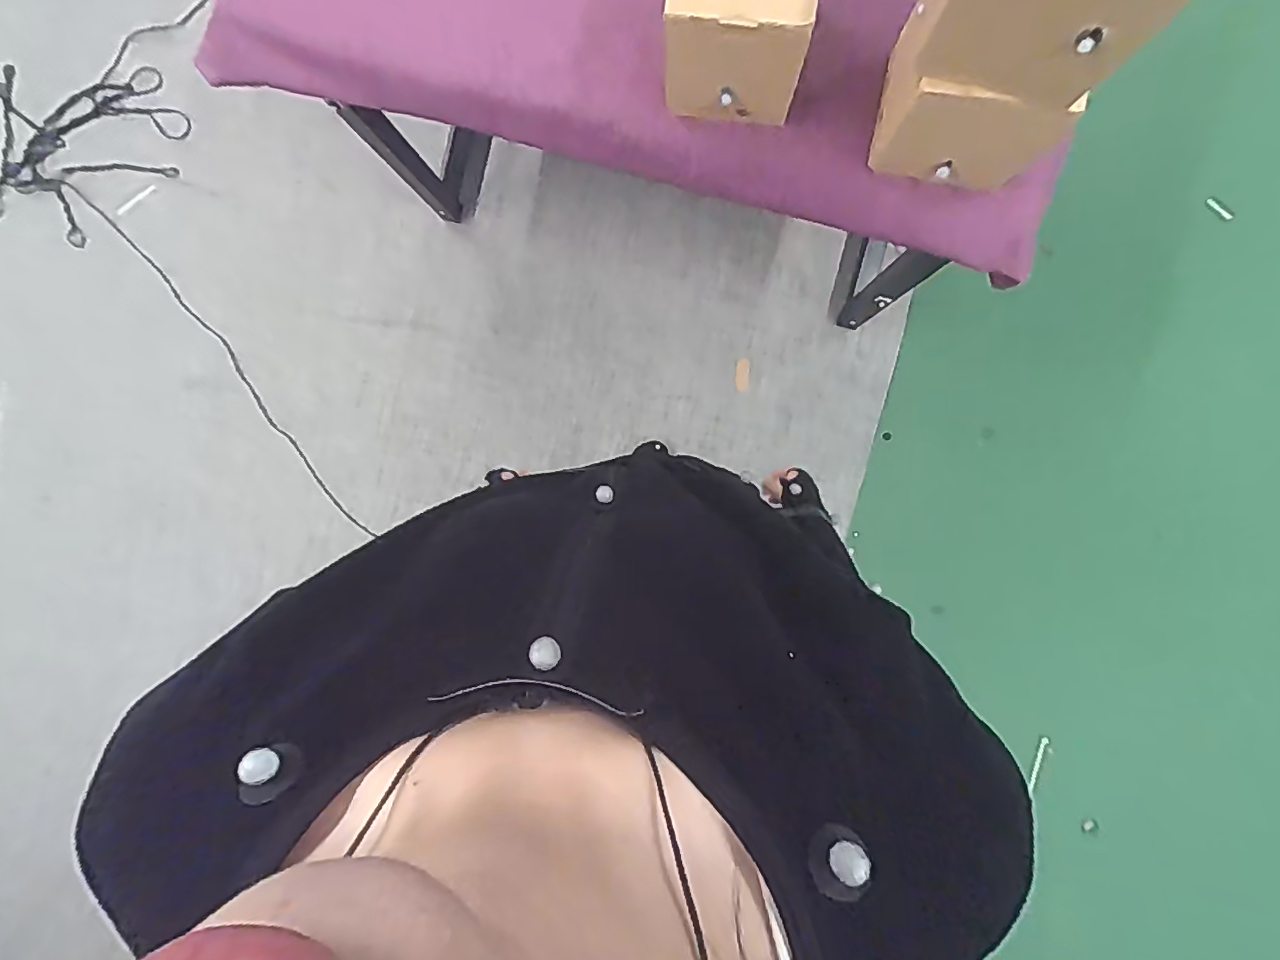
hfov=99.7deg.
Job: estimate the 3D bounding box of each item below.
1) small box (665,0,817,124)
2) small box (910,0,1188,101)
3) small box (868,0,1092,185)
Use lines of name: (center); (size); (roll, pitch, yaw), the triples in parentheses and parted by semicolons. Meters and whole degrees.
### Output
small box: (0.124, -0.584, 0.664); (0.168, 0.176, 0.179); (9, 92, 4)
small box: (0.383, -0.487, 0.486); (0.179, 0.176, 0.168); (17, 94, 4)
small box: (0.403, -0.484, 0.649); (0.179, 0.176, 0.168); (11, 93, 3)
